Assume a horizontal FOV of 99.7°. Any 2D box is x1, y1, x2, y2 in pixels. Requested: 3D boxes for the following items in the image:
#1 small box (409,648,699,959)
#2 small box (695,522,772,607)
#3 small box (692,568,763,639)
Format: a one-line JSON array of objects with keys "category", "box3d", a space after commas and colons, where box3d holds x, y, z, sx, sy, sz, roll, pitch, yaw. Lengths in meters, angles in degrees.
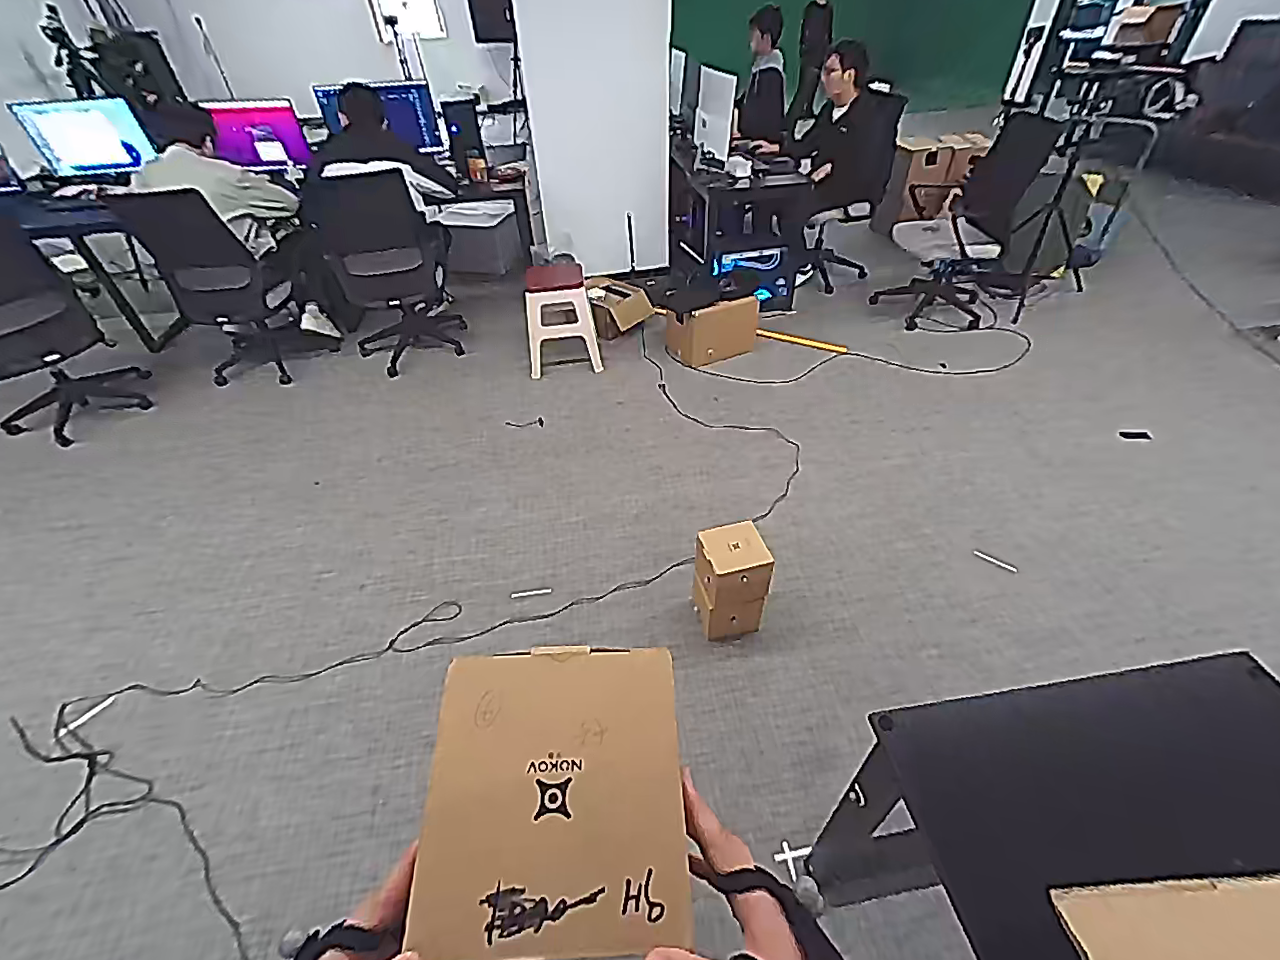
[{"category": "small box", "box3d": [-0.051, 0.246, 0.415, 0.168, 0.176, 0.179, -3, 53, -1]}, {"category": "small box", "box3d": [0.270, 0.253, 1.603, 0.179, 0.176, 0.168, -11, 43, -11]}, {"category": "small box", "box3d": [0.270, 0.376, 1.709, 0.179, 0.176, 0.168, -11, 42, -7]}]
